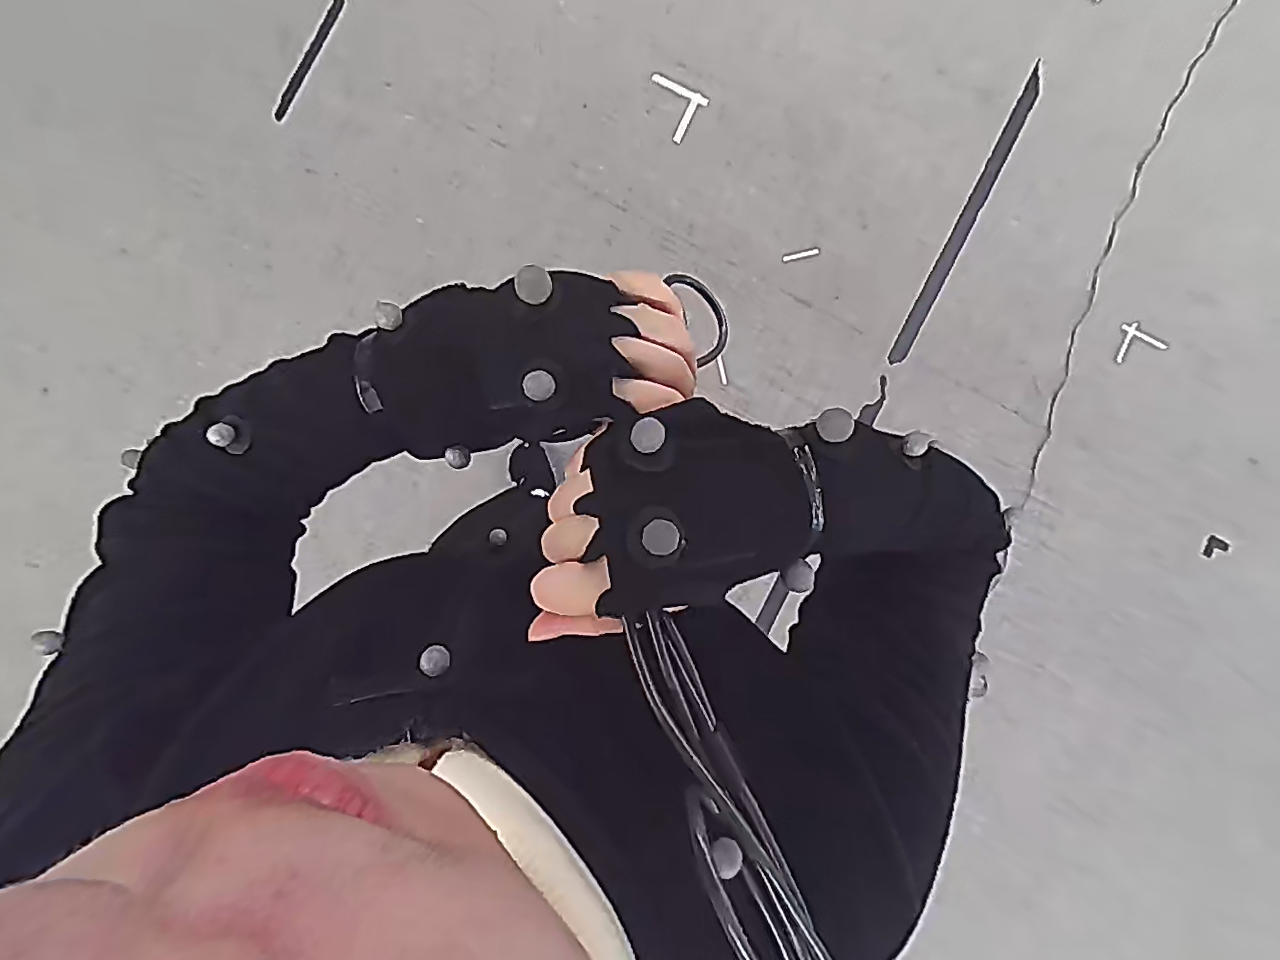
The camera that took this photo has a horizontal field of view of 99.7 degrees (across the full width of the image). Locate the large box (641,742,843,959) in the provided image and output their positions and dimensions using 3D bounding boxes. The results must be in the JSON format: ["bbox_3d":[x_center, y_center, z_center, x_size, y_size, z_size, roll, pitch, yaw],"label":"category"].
[{"bbox_3d":[0.196,0.849,1.167,0.320,0.320,0.408,12,89,-2],"label":"large box"}]
